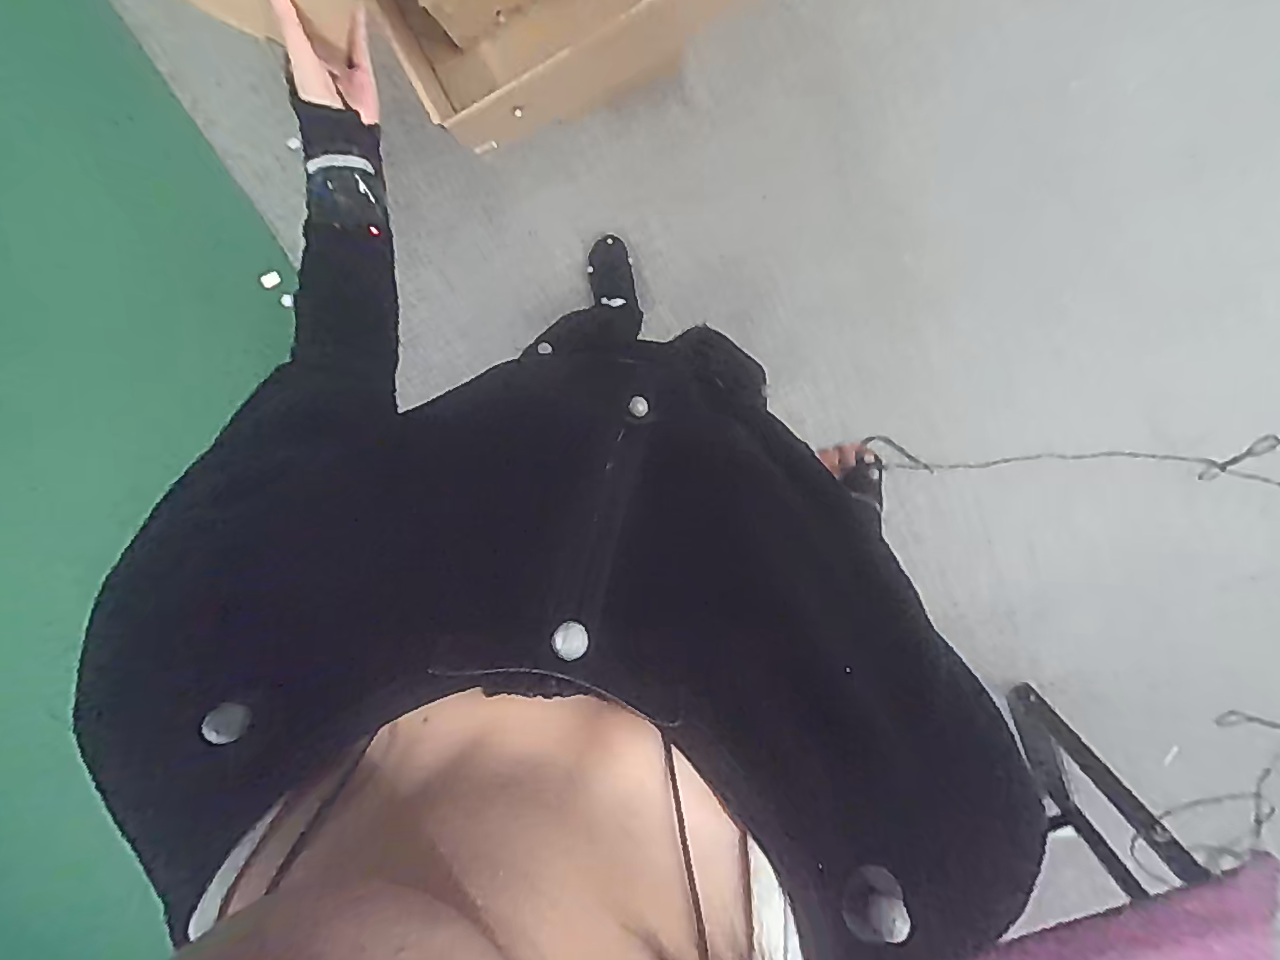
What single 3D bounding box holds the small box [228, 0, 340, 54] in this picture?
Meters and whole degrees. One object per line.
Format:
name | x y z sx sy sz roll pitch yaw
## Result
small box | -0.286 -0.482 0.385 0.168 0.179 0.176 12 70 -35
